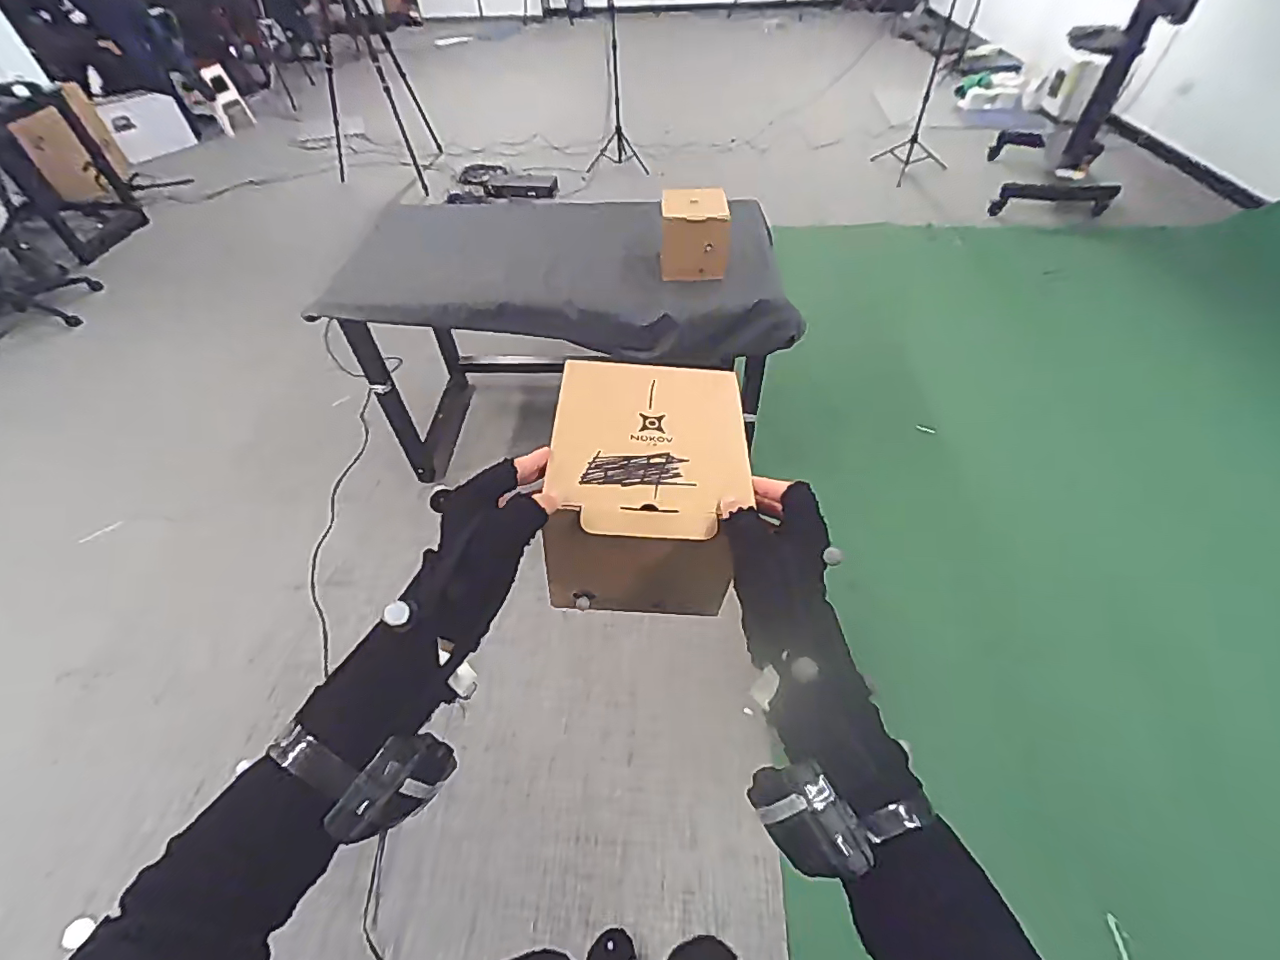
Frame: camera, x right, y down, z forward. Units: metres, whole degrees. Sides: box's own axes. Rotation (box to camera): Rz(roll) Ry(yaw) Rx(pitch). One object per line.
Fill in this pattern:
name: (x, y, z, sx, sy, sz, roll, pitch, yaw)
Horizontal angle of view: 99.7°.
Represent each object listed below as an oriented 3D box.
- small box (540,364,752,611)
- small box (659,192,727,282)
small box: (0.004, 0.011, 0.524, 0.168, 0.176, 0.179, 3, 49, -2)
small box: (0.134, -0.637, 1.426, 0.168, 0.176, 0.179, -1, 47, 1)
